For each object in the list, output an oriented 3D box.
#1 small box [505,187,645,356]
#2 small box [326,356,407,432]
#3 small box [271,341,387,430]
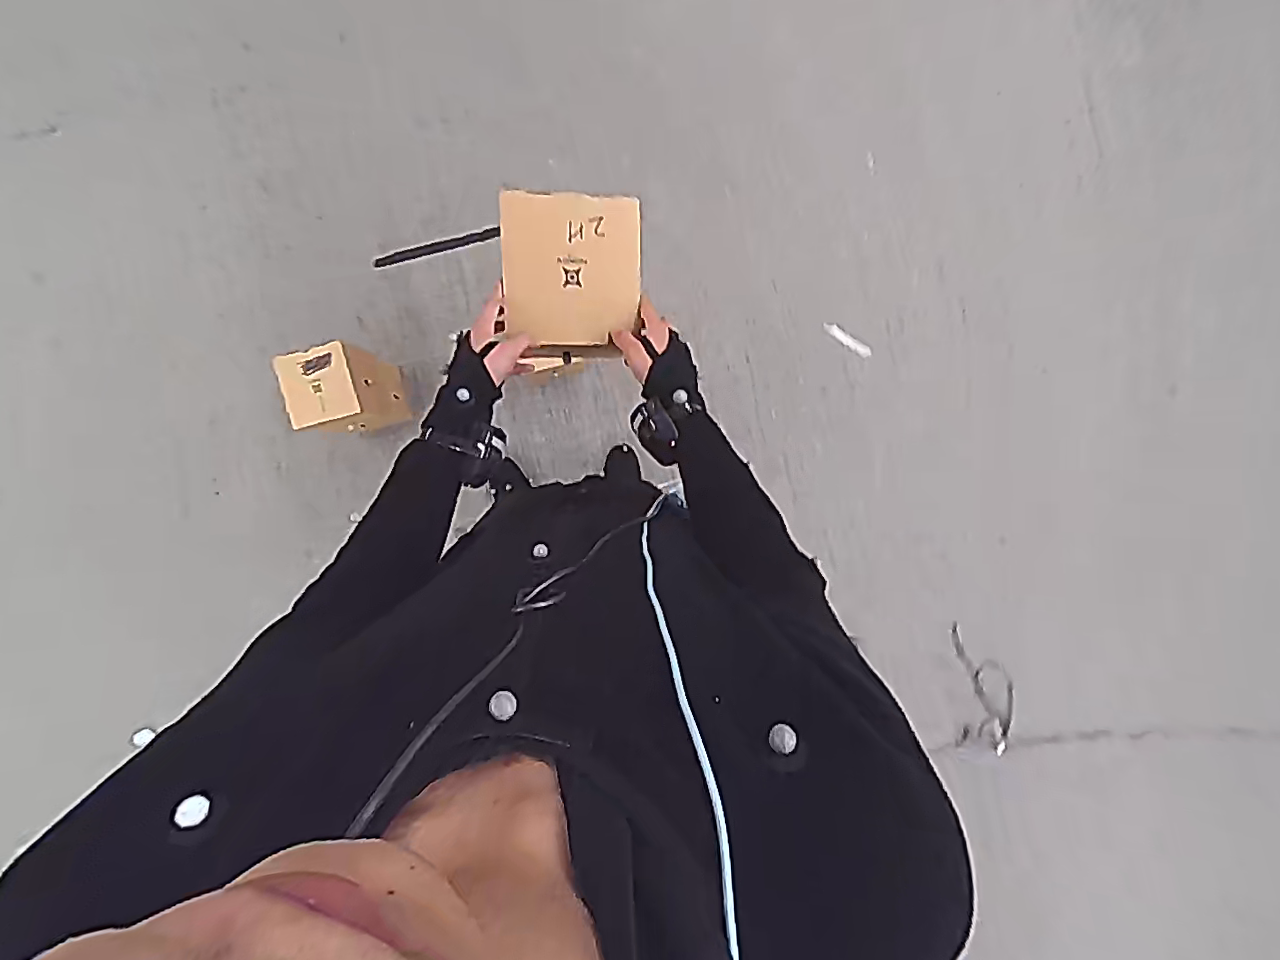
[{"bbox_3d":[-0.089,-0.260,0.719,0.168,0.176,0.179,-1,98,-11],"label":"small box"},{"bbox_3d":[-0.770,-0.233,1.503,0.179,0.176,0.168,-16,94,-1],"label":"small box"},{"bbox_3d":[-0.759,-0.227,1.339,0.168,0.176,0.179,-15,95,-1],"label":"small box"}]
